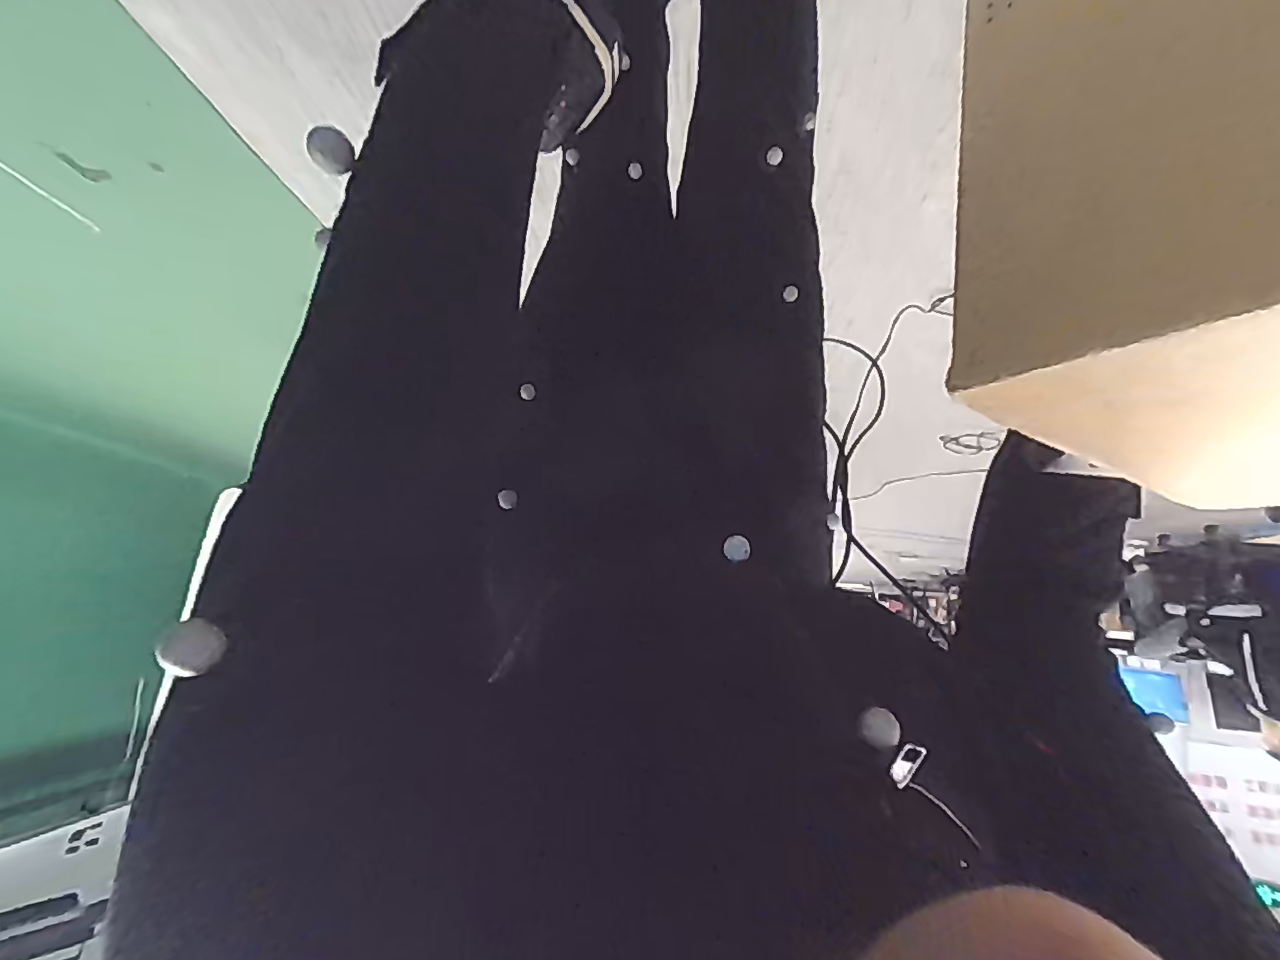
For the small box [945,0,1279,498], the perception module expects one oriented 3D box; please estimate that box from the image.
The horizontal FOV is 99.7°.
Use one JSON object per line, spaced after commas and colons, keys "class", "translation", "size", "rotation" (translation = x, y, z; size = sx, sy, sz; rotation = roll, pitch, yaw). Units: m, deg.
{"class": "small box", "translation": [0.213, -0.103, 0.149], "size": [0.179, 0.176, 0.168], "rotation": [14, 166, -25]}
